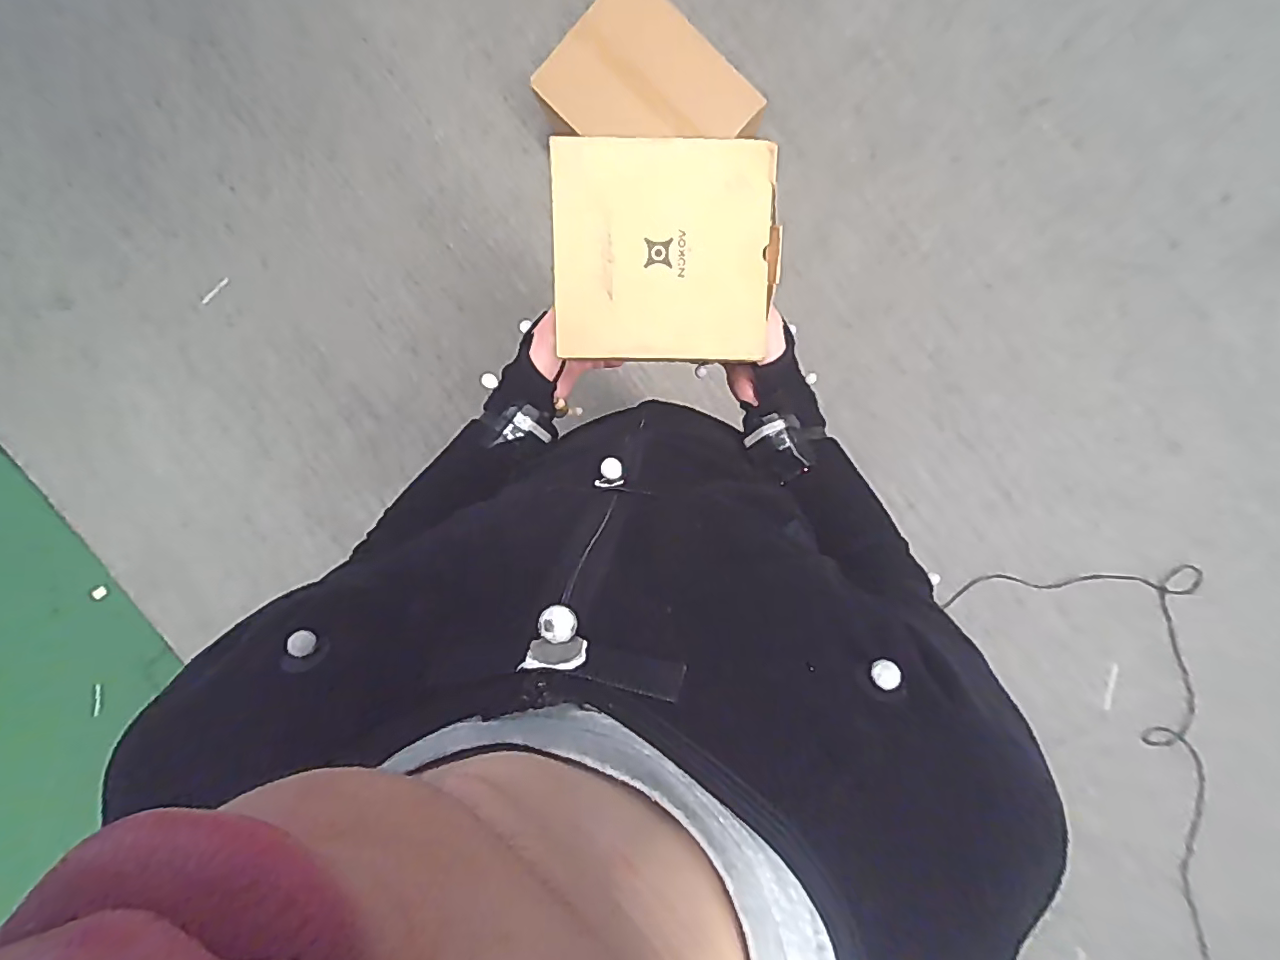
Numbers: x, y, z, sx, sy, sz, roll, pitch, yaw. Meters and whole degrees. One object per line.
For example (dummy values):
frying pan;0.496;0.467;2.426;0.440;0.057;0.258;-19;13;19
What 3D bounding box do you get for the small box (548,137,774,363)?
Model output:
small box;0.015;-0.196;0.506;0.179;0.176;0.168;-1;101;0
